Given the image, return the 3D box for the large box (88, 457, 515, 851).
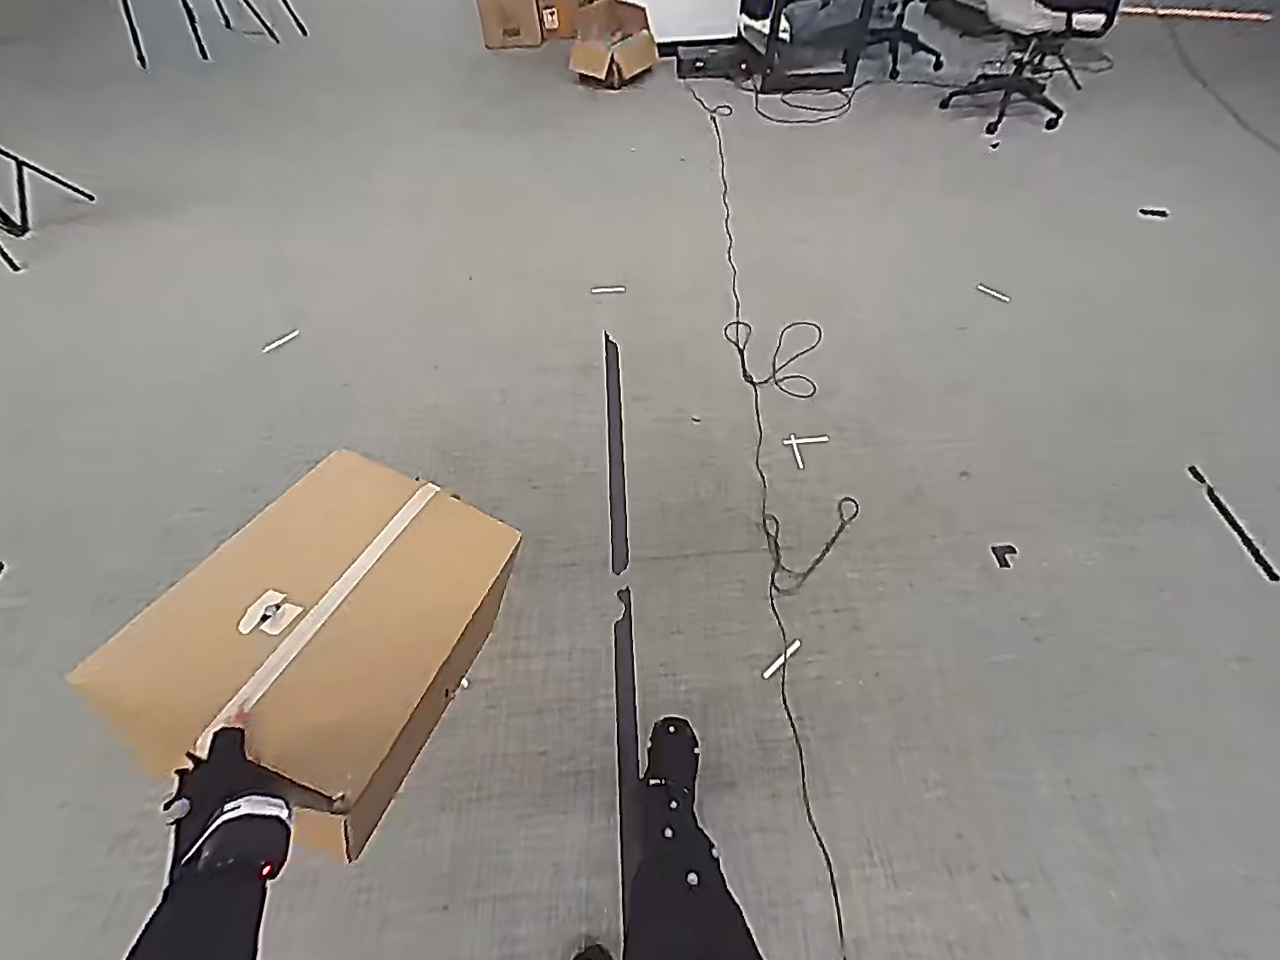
[{"bbox_3d":[-0.435,0.248,0.806,0.320,0.320,0.408,26,43,-2],"label":"large box"}]
